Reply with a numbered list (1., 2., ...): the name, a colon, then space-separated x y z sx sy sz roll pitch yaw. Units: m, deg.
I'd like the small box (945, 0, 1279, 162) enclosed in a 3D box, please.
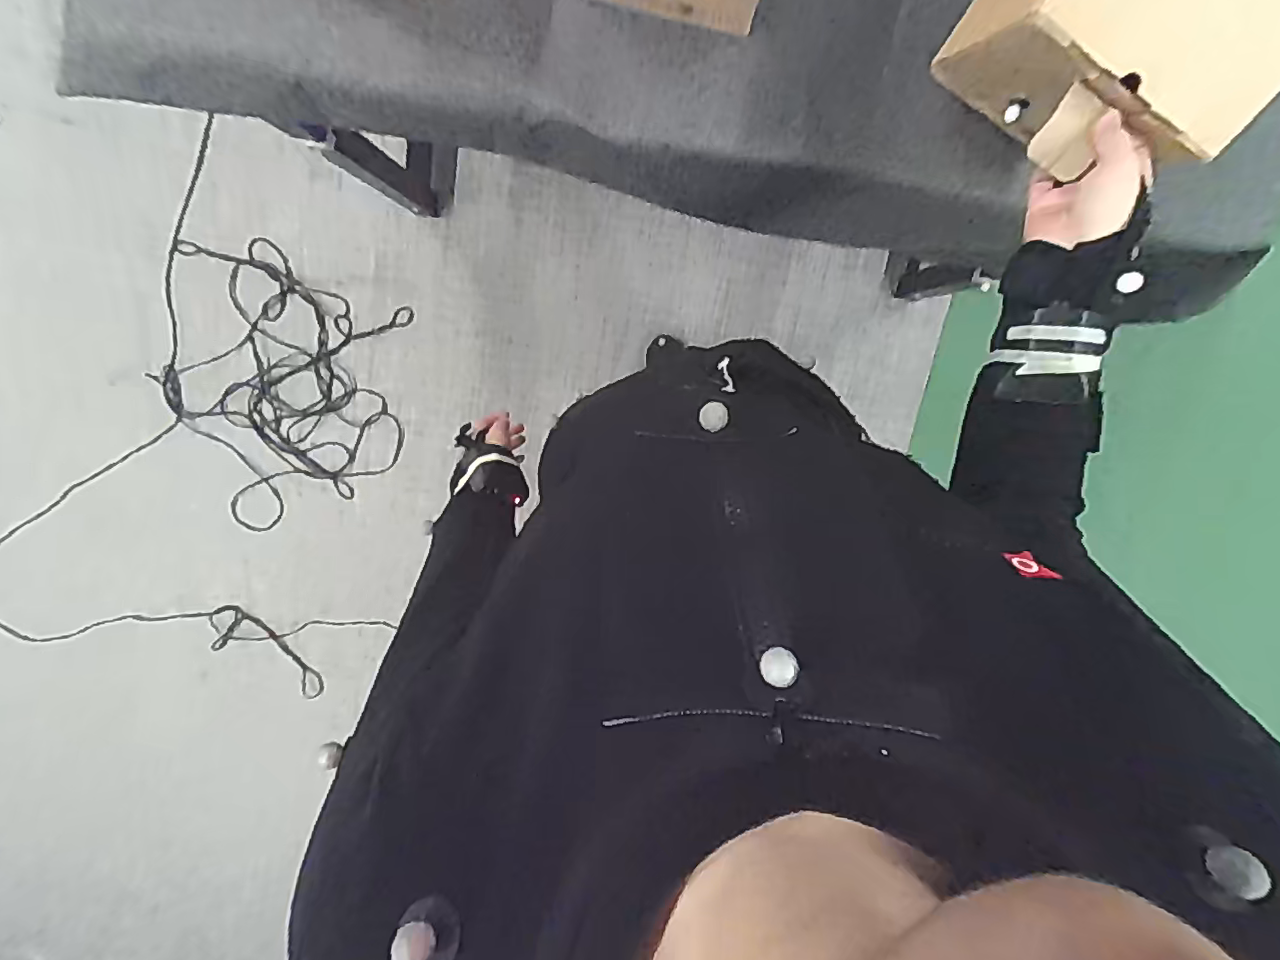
1. small box: 0.363 -0.356 0.381 0.168 0.176 0.179 27 117 -9
